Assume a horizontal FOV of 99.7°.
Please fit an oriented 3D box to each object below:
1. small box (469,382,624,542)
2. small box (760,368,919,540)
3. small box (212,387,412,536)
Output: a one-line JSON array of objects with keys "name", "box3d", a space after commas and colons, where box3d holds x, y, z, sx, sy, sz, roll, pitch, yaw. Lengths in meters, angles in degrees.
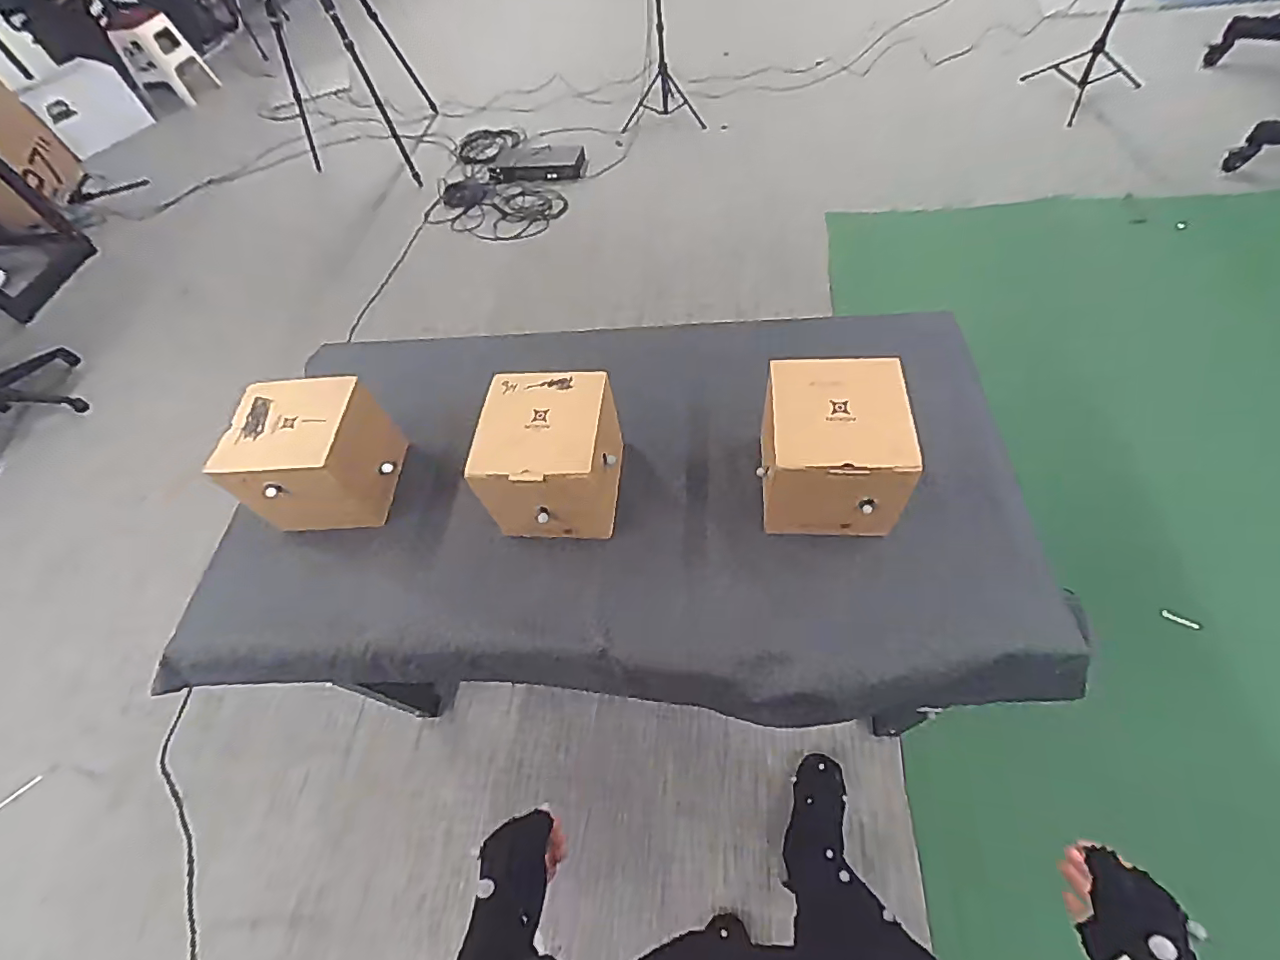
[{"name": "small box", "box3d": [-0.121, -0.020, 0.784, 0.168, 0.176, 0.179, 0, 57, 8]}, {"name": "small box", "box3d": [0.255, -0.030, 0.738, 0.168, 0.176, 0.179, 0, 55, 7]}, {"name": "small box", "box3d": [-0.488, -0.023, 0.835, 0.179, 0.176, 0.168, -3, 56, 5]}]
